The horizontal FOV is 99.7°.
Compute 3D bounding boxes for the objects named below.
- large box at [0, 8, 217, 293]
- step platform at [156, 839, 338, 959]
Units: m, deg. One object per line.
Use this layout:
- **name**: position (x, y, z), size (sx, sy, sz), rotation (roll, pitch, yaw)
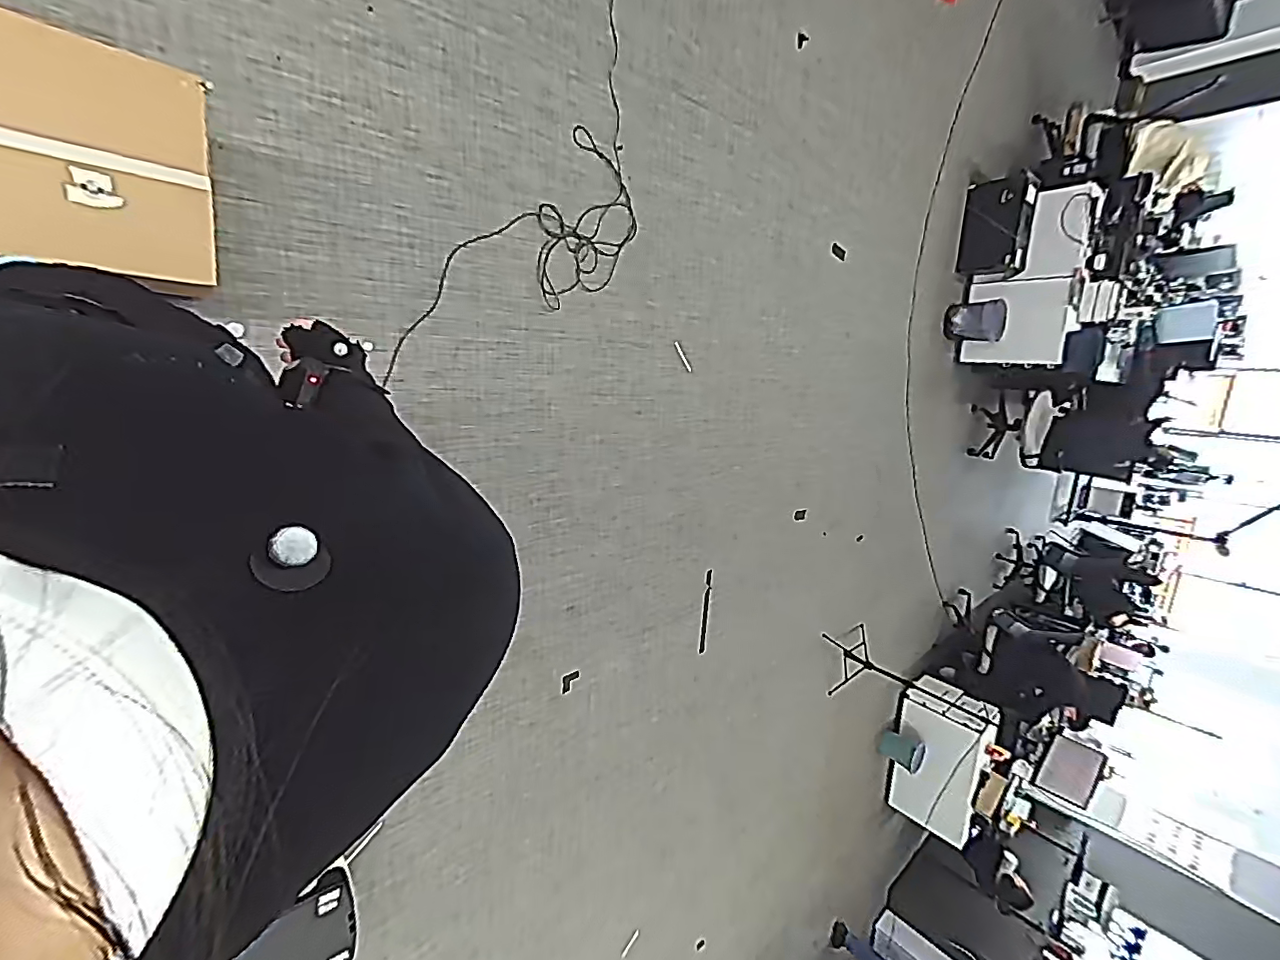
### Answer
- **large box**: position (-0.939, -0.492, 0.845), size (0.408, 0.320, 0.320), rotation (-5, 104, -42)
- **step platform**: position (-1.072, 1.149, 1.217), size (0.684, 0.204, 0.286), rotation (-9, 106, -39)
